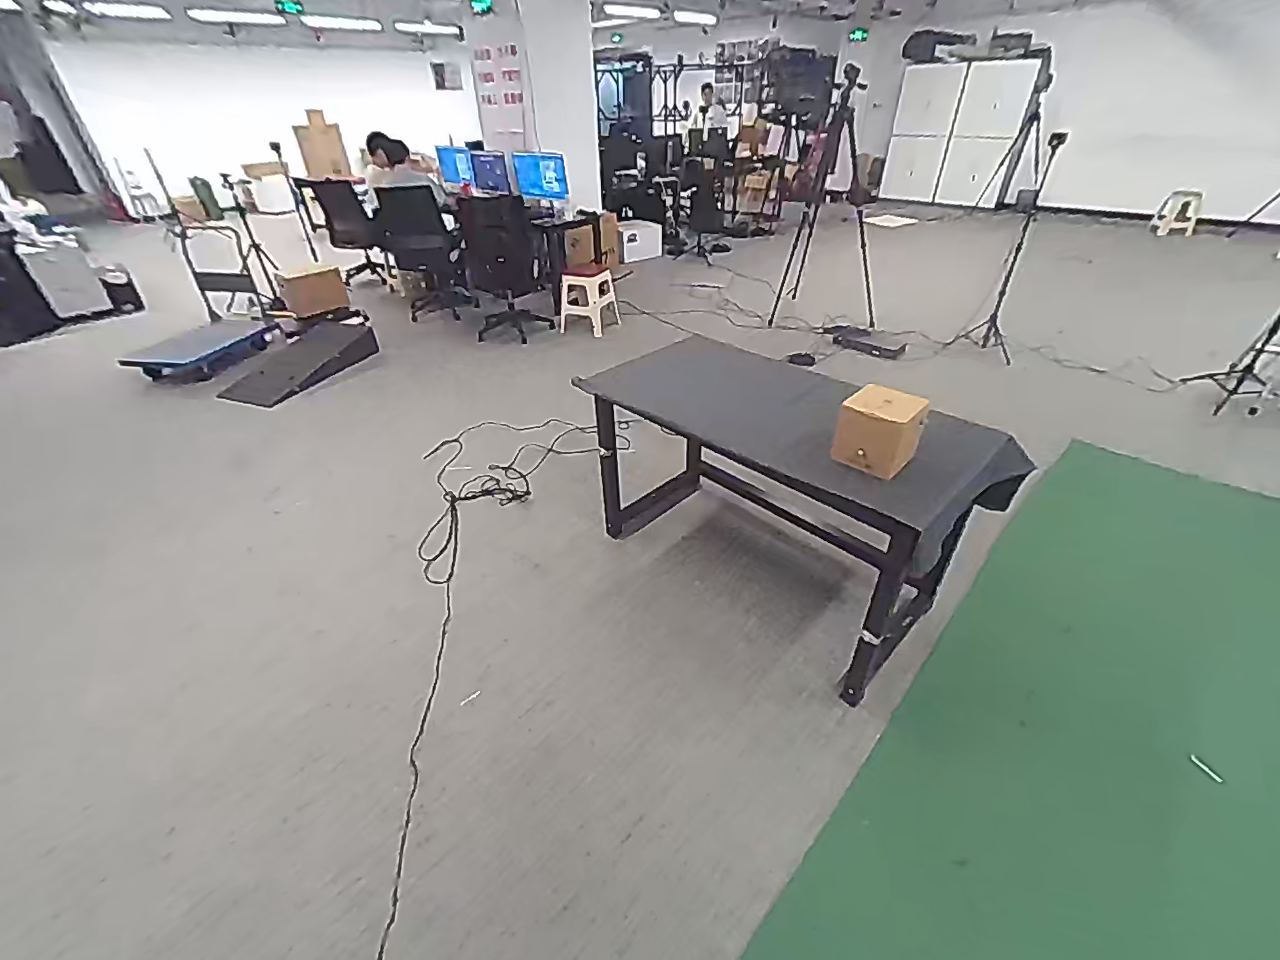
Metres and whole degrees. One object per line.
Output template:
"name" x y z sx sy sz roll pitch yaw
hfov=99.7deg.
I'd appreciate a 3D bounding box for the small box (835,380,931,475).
"small box" 0.636 -0.141 1.432 0.168 0.176 0.179 26 44 36
